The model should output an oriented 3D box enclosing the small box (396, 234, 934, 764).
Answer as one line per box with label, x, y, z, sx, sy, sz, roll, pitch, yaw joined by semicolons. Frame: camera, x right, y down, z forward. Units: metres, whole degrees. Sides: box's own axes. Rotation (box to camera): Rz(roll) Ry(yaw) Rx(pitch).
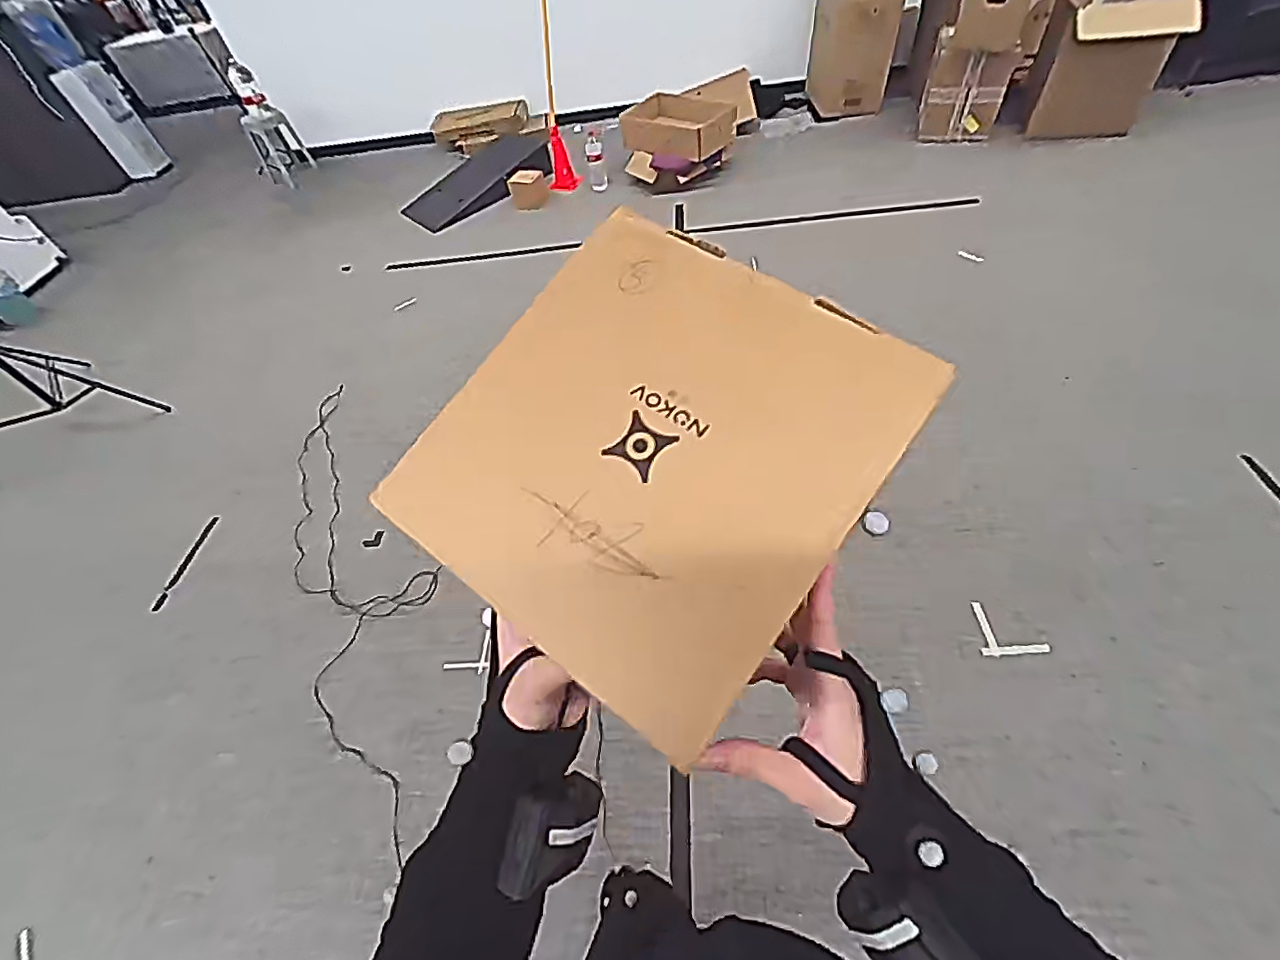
small box;0.017;0.014;0.301;0.168;0.176;0.179;34;81;19
